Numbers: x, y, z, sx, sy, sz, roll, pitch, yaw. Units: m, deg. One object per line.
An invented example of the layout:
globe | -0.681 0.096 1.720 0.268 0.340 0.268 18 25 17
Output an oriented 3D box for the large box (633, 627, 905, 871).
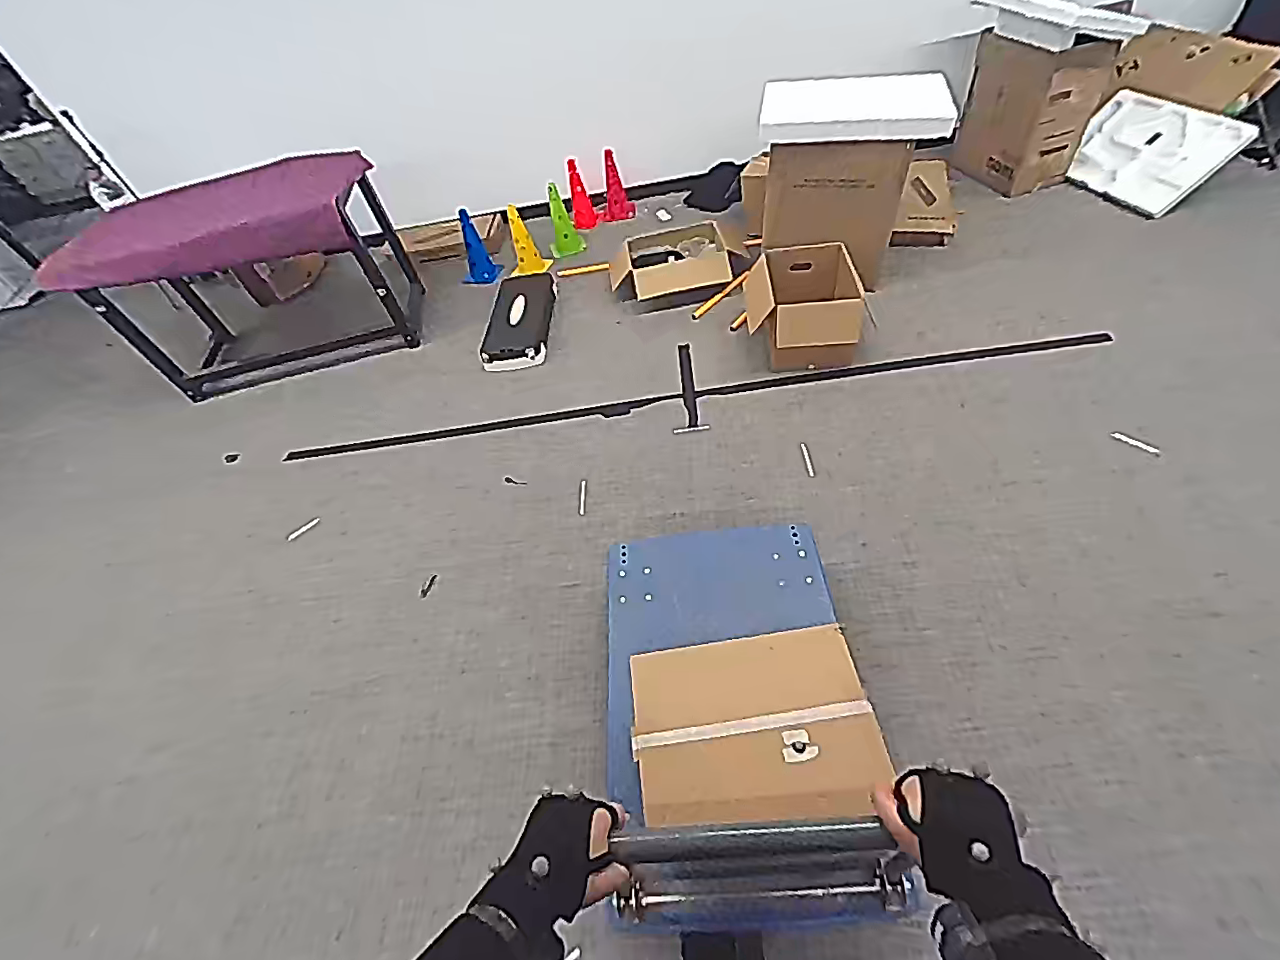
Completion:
large box | 0.217 0.524 1.046 0.408 0.320 0.320 -10 50 1
